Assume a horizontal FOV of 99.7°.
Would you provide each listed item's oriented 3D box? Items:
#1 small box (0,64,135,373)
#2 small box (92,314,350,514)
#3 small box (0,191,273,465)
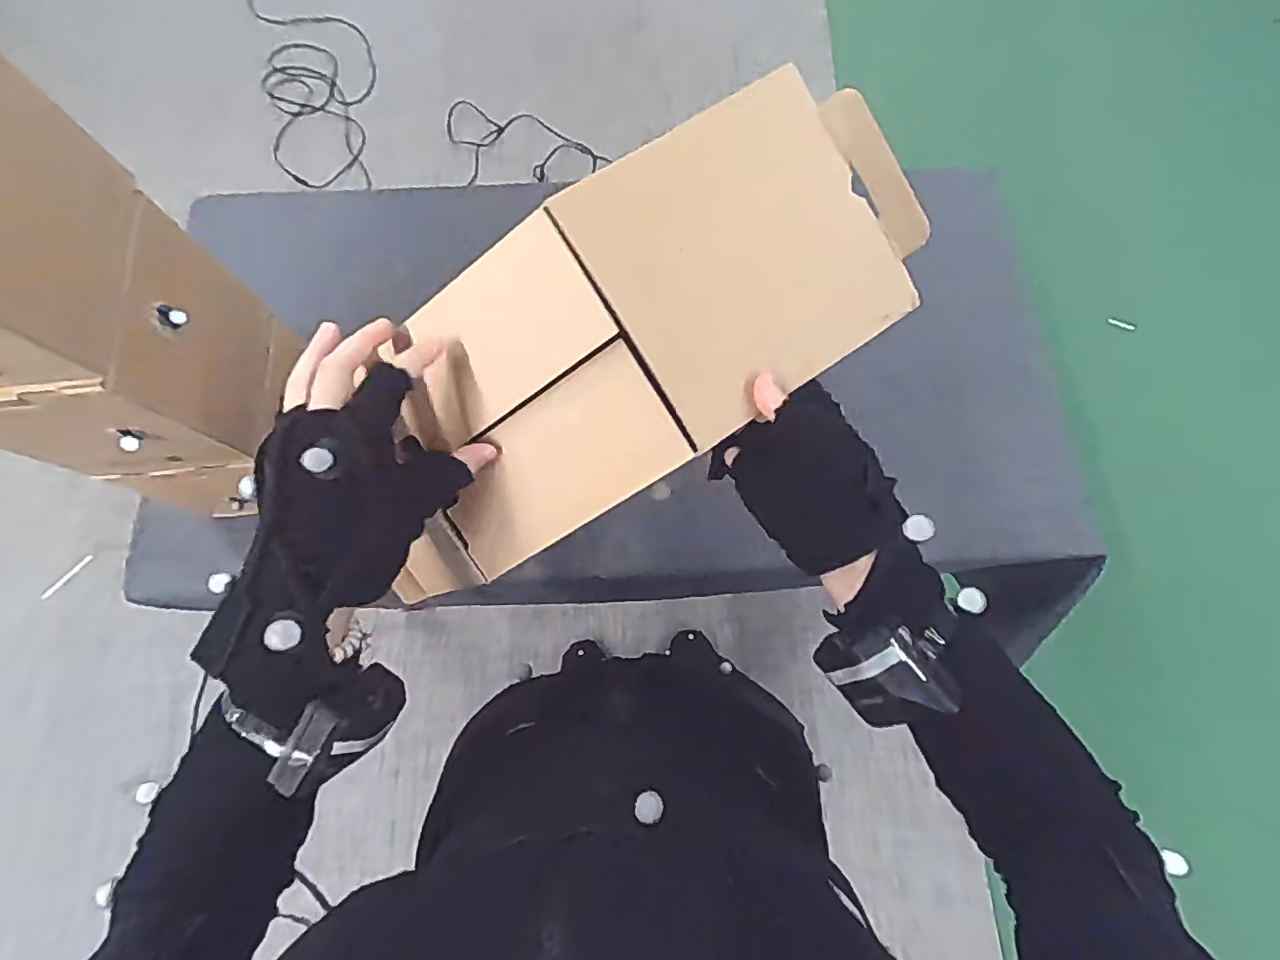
[{"bbox_3d":[-0.461,-0.171,0.322,0.168,0.176,0.179,-6,73,-3],"label":"small box"},{"bbox_3d":[-0.463,-0.068,0.633,0.168,0.176,0.179,-5,74,-2],"label":"small box"},{"bbox_3d":[-0.461,-0.117,0.477,0.168,0.176,0.179,-4,73,-3],"label":"small box"}]
